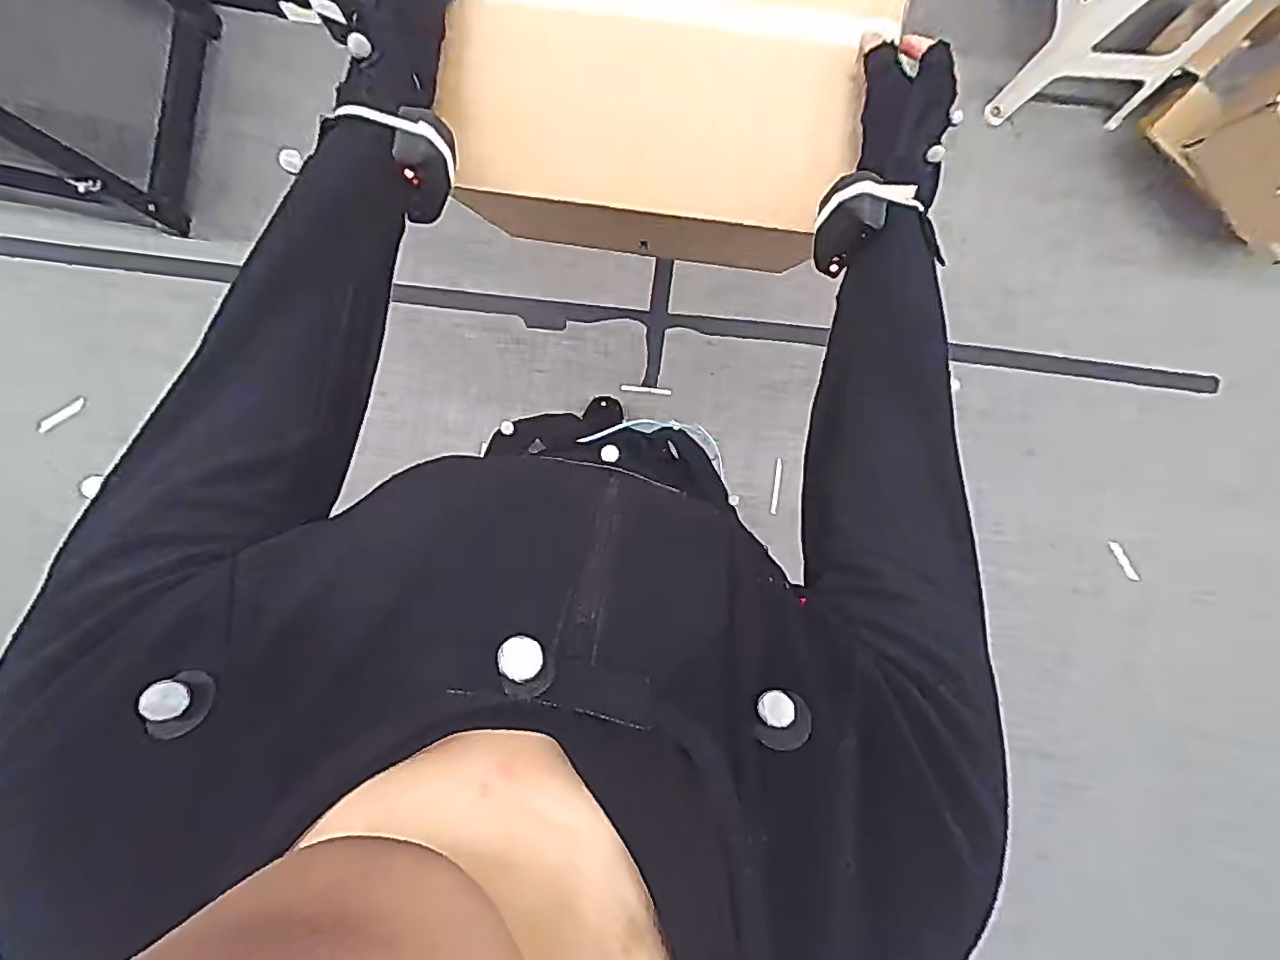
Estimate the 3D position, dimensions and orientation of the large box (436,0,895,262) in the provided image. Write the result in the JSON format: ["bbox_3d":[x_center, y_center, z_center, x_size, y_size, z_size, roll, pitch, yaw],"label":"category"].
[{"bbox_3d":[0.026,-0.446,0.617,0.408,0.320,0.320,7,104,0],"label":"large box"}]
